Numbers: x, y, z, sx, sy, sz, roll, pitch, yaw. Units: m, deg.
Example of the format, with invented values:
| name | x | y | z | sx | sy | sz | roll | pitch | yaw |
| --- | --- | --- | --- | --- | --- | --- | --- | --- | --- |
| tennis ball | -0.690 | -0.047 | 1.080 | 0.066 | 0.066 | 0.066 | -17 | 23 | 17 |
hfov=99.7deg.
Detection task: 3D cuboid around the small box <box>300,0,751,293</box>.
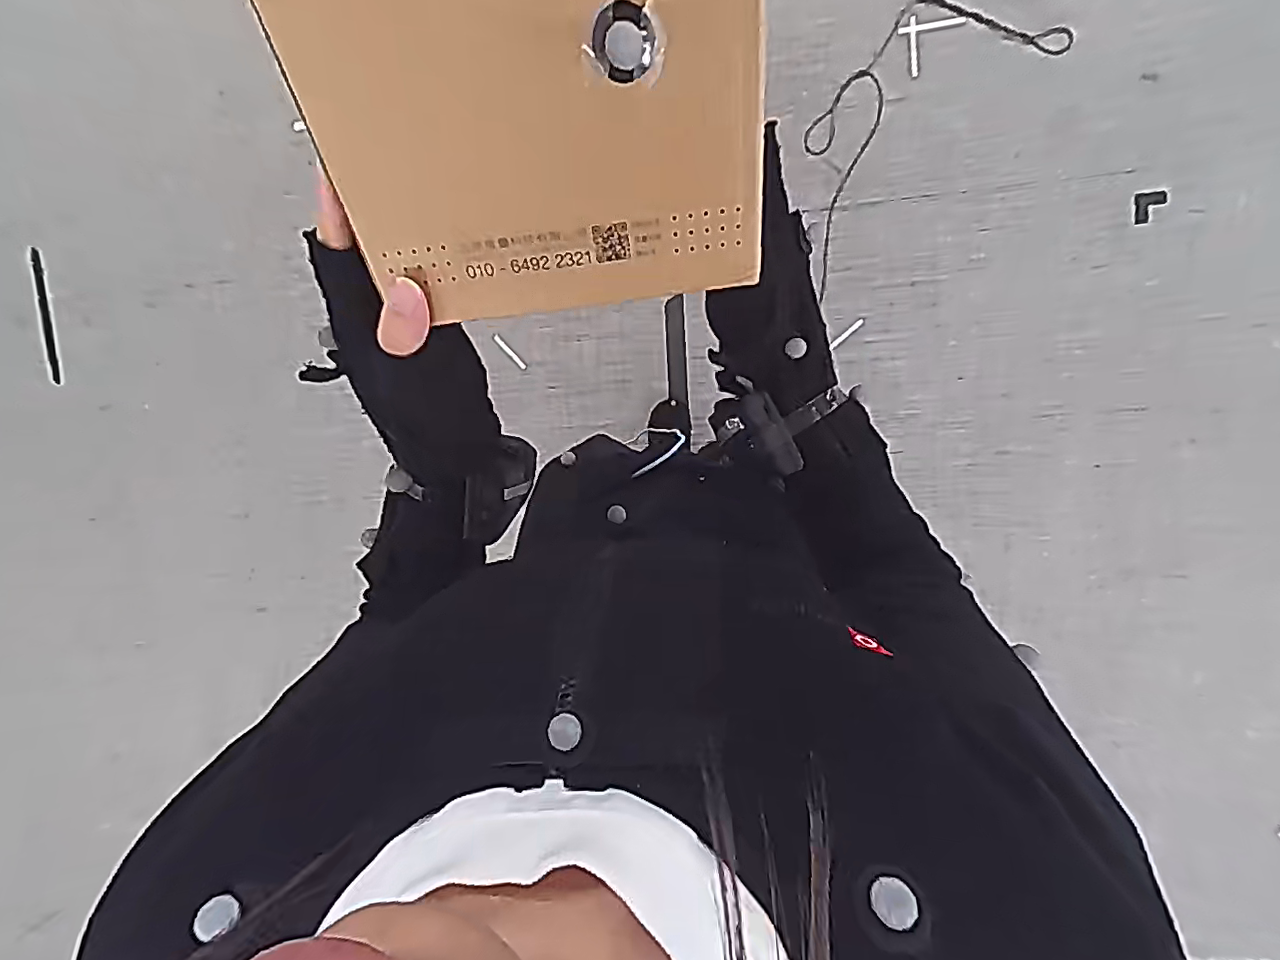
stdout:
| name | x | y | z | sx | sy | sz | roll | pitch | yaw |
| --- | --- | --- | --- | --- | --- | --- | --- | --- | --- |
| small box | -0.037 | -0.203 | 0.271 | 0.168 | 0.179 | 0.176 | -5 | 130 | 4 |
